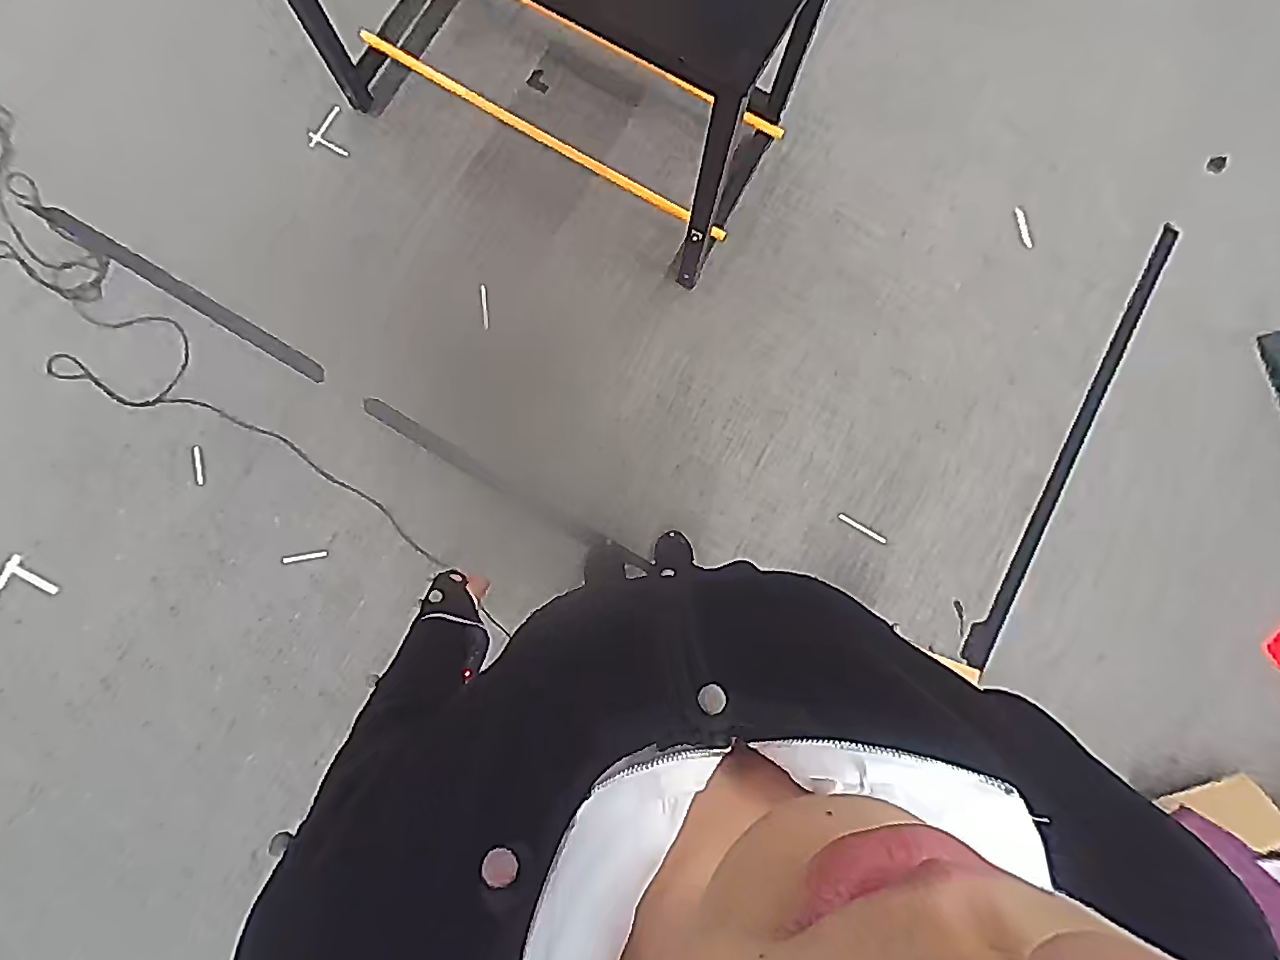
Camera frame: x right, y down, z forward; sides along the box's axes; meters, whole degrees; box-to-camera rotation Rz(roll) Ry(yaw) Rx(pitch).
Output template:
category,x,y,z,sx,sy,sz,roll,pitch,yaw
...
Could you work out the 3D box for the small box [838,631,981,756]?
category,x,y,z,sx,sy,sz,roll,pitch,yaw
small box,0.533,0.417,1.089,0.179,0.176,0.168,21,82,1
